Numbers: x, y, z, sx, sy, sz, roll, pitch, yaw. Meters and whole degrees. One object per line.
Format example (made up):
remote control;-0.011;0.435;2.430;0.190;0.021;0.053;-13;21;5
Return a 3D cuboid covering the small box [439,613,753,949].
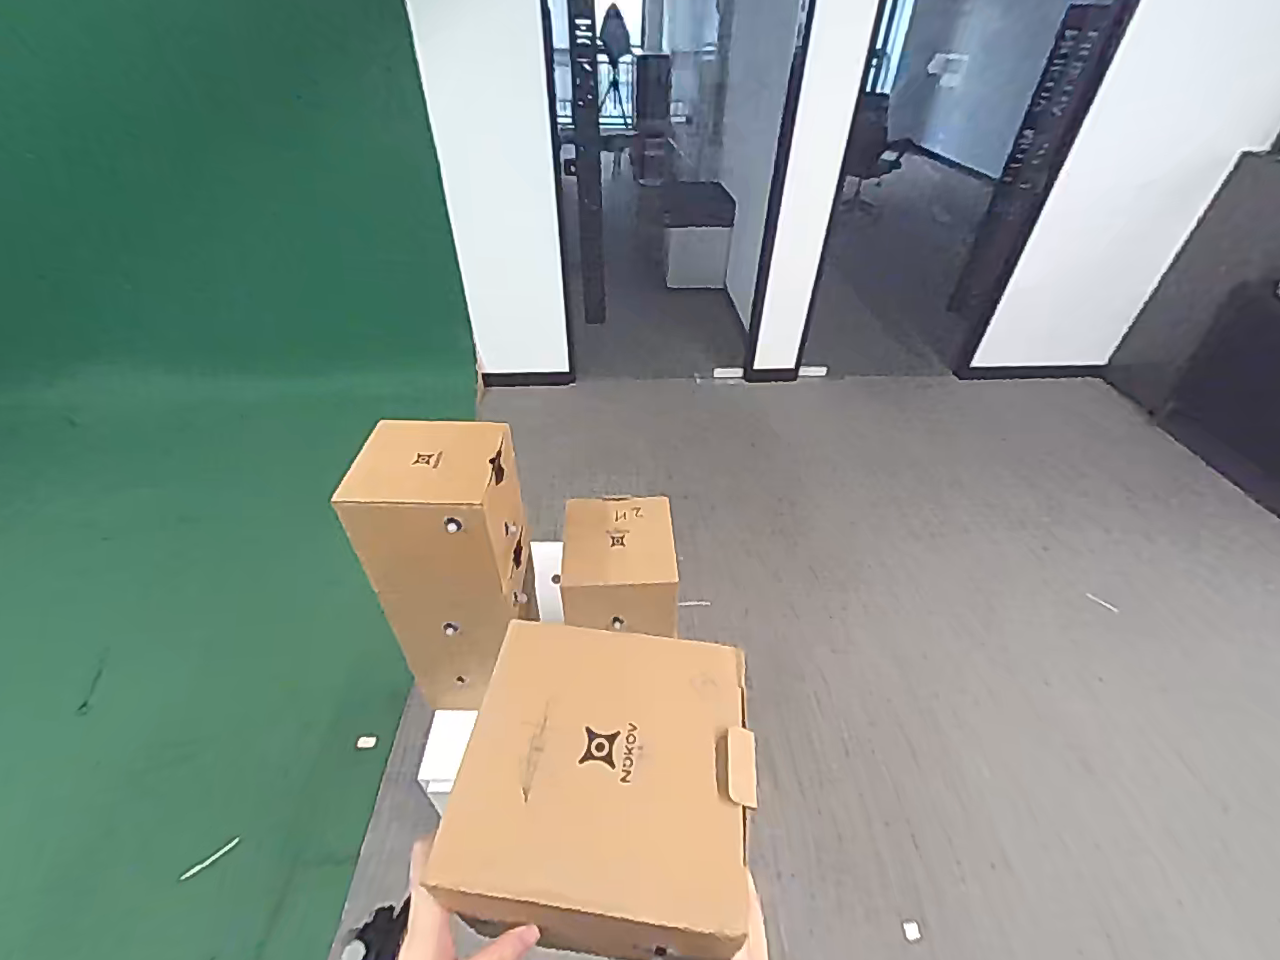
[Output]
small box;-0.016;0.224;0.404;0.179;0.176;0.168;4;42;6

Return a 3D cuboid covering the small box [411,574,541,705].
small box;-0.273;0.281;0.950;0.179;0.176;0.168;2;42;-3

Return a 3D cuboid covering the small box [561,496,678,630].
small box;-0.030;0.146;0.861;0.168;0.176;0.179;-1;41;-3

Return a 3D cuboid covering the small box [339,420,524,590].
small box;-0.264;0.035;0.734;0.179;0.176;0.168;1;41;-2
